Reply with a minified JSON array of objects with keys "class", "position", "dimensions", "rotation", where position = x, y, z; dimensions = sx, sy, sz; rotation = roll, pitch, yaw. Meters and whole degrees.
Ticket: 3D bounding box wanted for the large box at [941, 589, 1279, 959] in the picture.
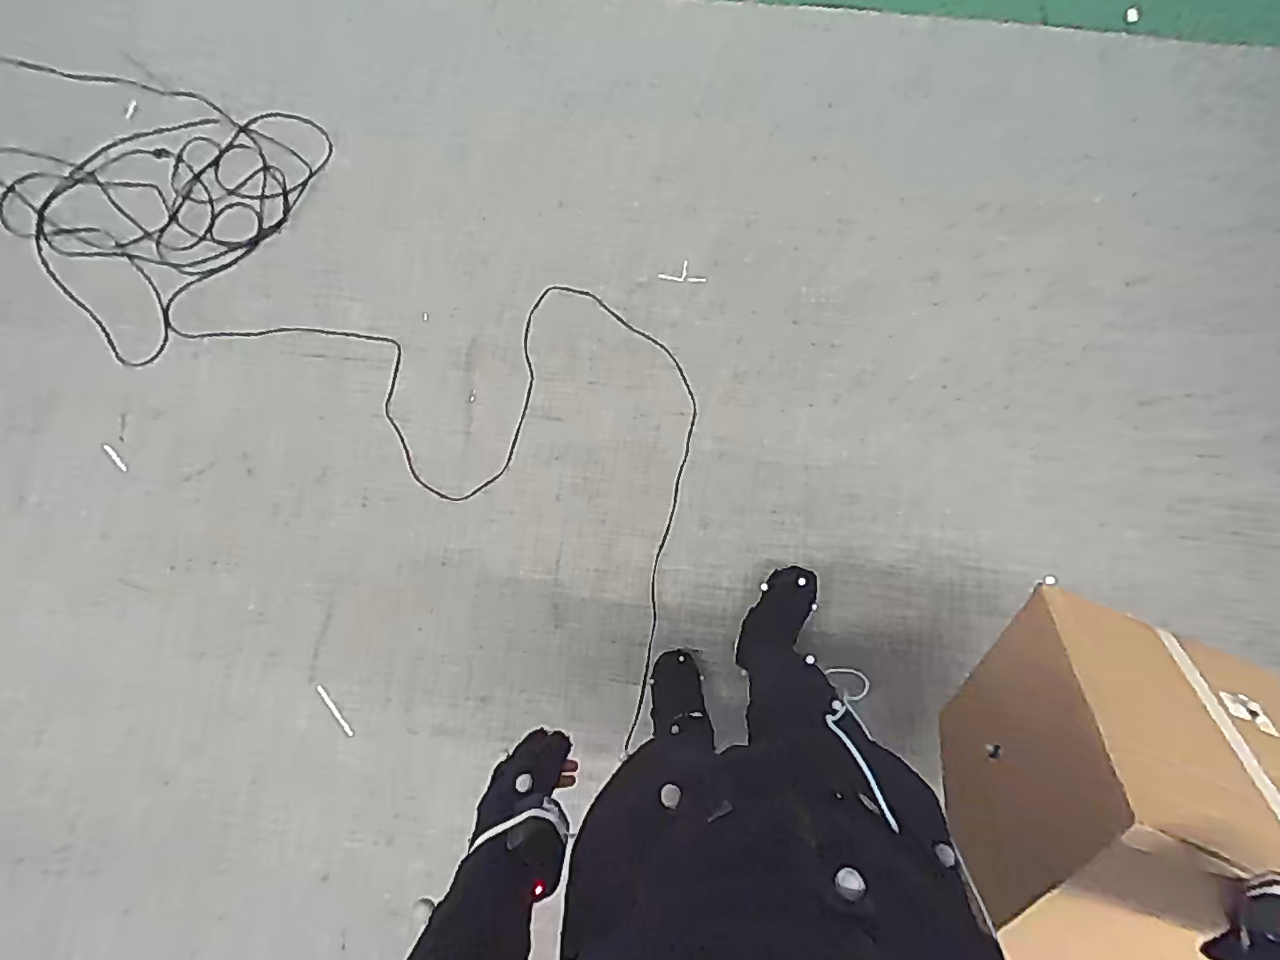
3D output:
[{"class":"large box","position":[0.621,0.421,0.682],"dimensions":[0.320,0.408,0.320],"rotation":[24,120,14]}]
